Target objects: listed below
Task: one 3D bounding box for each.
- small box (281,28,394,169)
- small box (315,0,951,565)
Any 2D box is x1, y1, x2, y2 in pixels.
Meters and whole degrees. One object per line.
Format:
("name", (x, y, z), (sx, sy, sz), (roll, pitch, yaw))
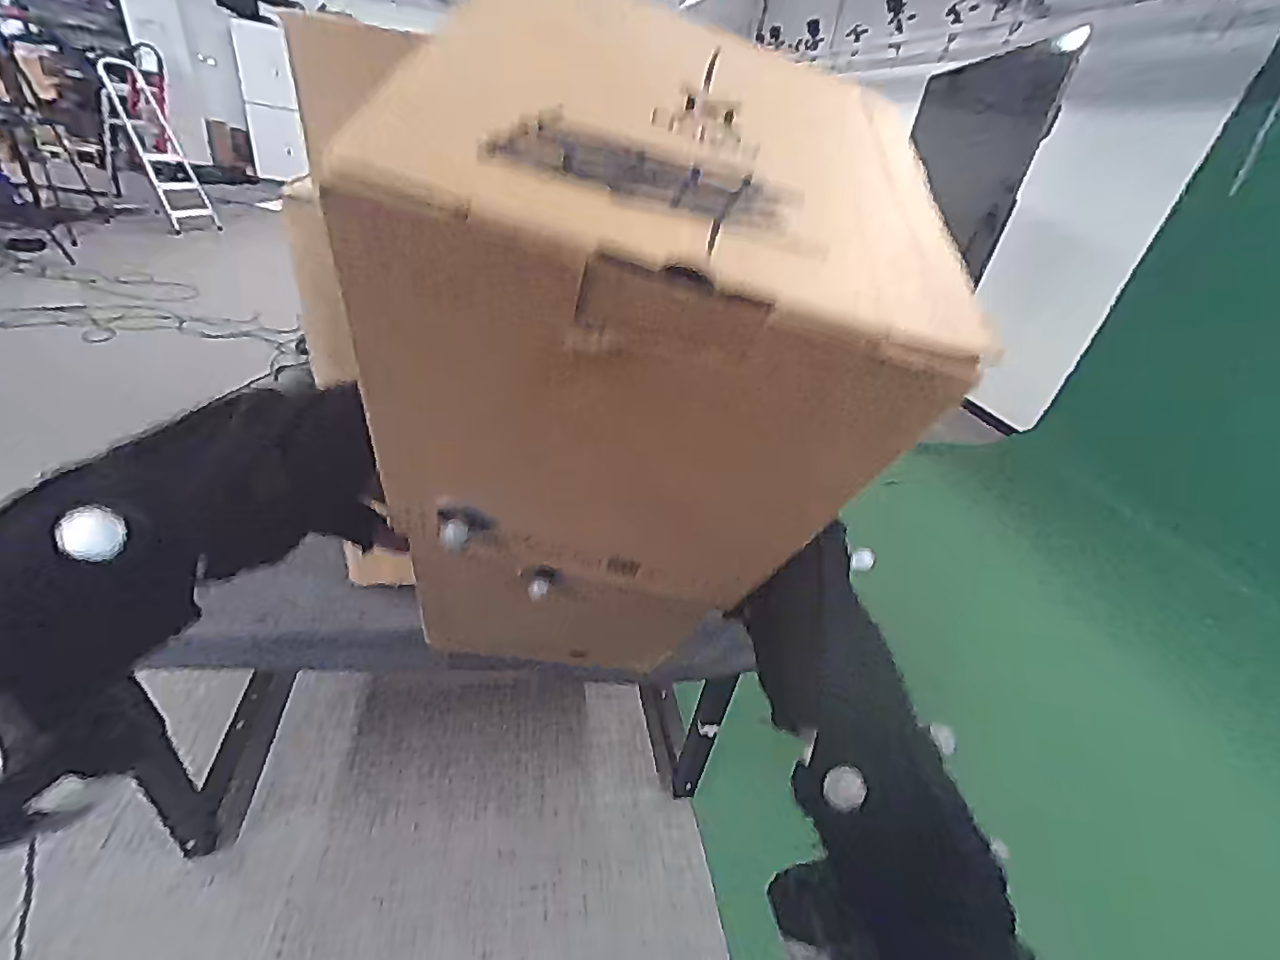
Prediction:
("small box", (-0.340, -0.473, 0.717), (0.168, 0.176, 0.179), (-4, 37, -15))
("small box", (-0.005, -0.082, 0.244), (0.168, 0.176, 0.179), (14, 54, -8))
